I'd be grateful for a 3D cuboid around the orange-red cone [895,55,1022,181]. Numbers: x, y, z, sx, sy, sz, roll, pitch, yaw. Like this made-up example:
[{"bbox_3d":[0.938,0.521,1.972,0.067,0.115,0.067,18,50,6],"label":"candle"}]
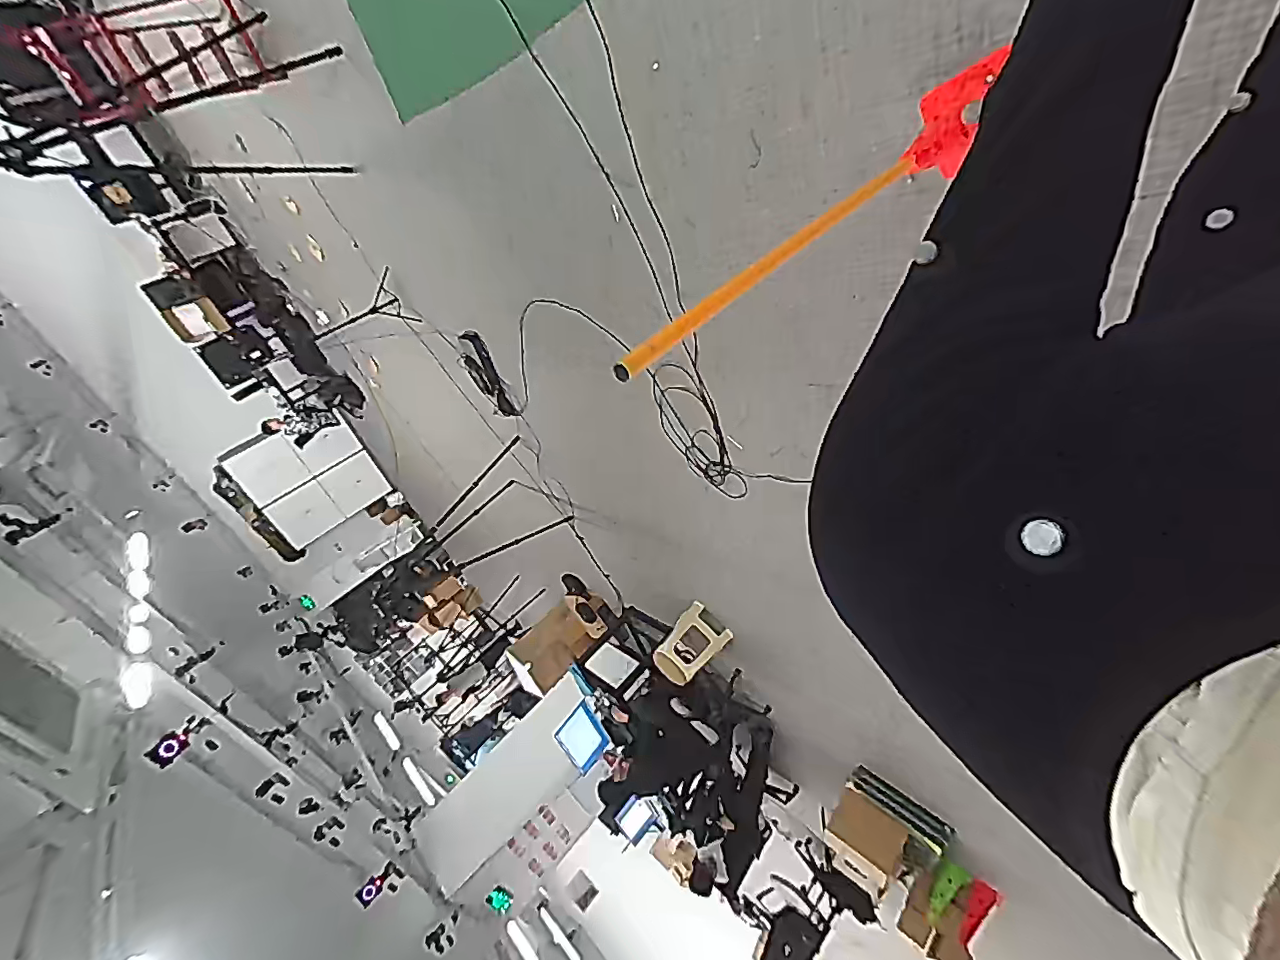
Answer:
[{"bbox_3d":[0.640,-0.714,1.148,0.199,0.360,0.198,0,125,57],"label":"orange-red cone"}]
